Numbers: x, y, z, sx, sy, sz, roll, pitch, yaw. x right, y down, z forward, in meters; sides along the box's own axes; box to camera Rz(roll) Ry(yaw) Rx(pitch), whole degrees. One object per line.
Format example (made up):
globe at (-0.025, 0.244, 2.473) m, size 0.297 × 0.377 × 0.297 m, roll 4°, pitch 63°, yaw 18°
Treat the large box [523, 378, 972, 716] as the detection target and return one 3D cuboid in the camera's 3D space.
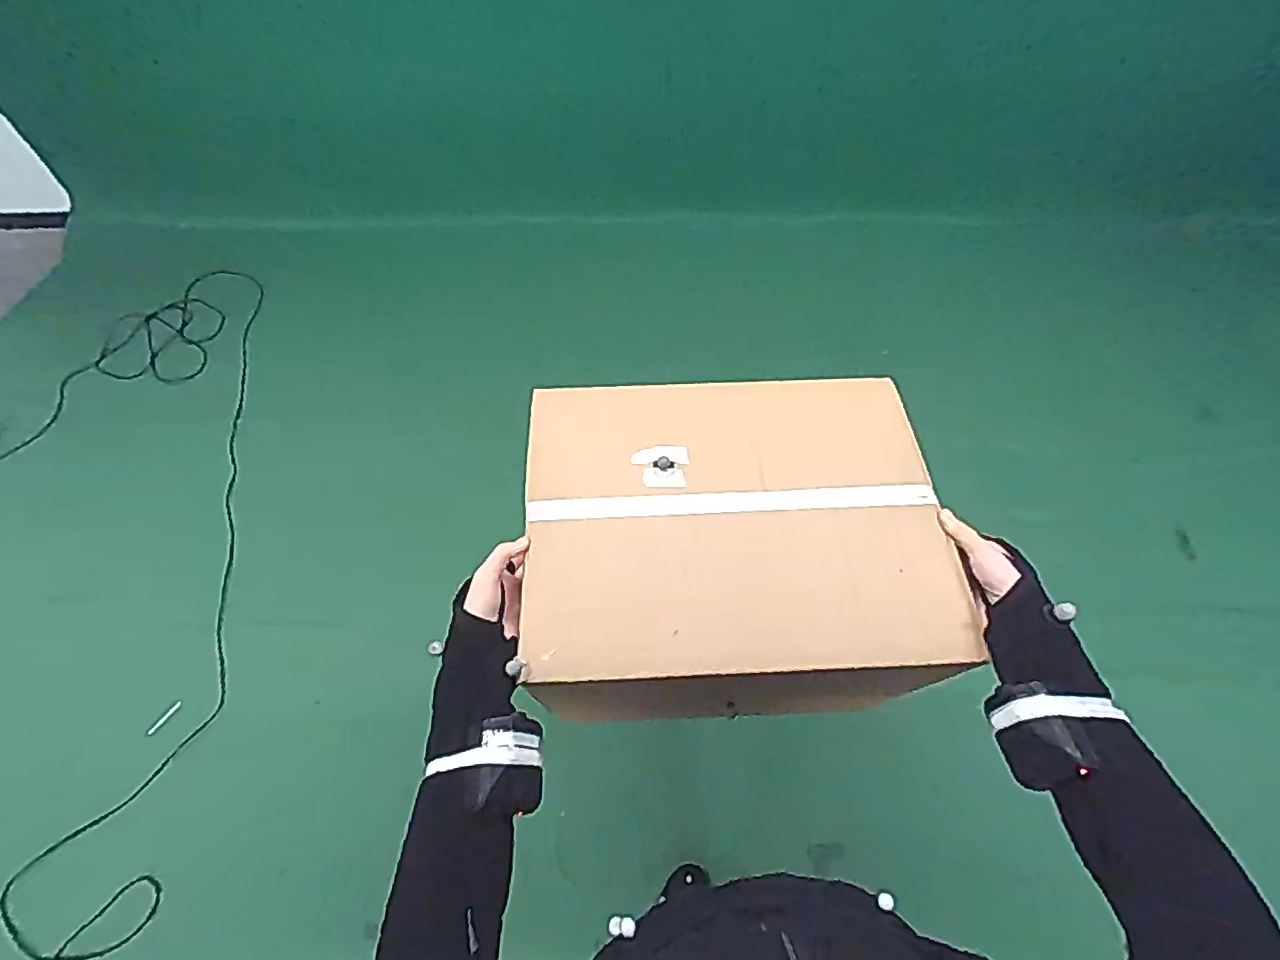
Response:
large box at (0.091, 0.102, 0.672) m, size 0.408 × 0.320 × 0.320 m, roll -3°, pitch 60°, yaw -1°
